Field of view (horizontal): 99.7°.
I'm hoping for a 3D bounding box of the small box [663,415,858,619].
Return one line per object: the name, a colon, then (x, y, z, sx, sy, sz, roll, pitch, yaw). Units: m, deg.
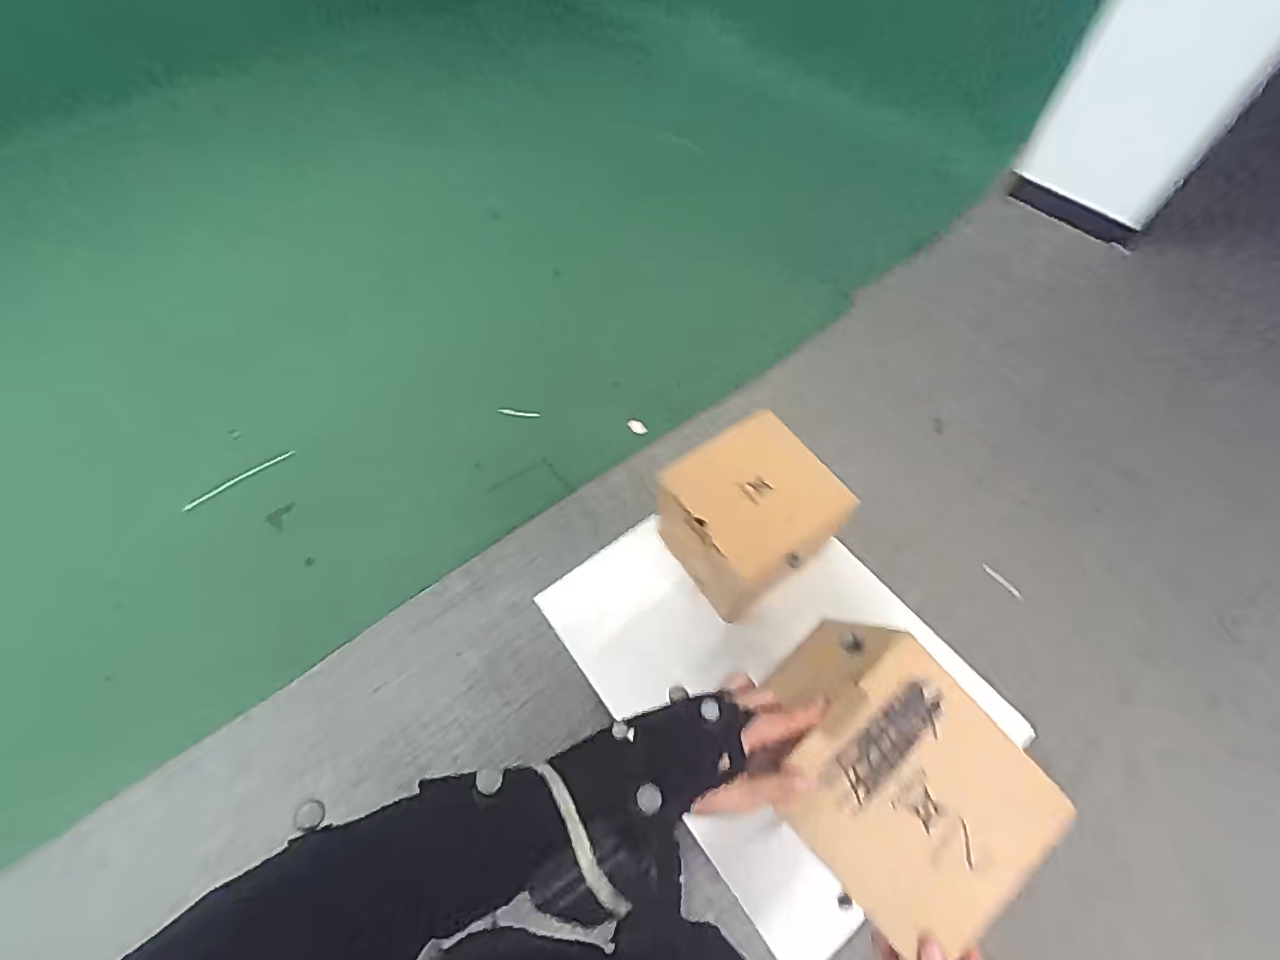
small box: (0.142, 0.053, 0.710, 0.179, 0.176, 0.168, -30, 64, -15)
